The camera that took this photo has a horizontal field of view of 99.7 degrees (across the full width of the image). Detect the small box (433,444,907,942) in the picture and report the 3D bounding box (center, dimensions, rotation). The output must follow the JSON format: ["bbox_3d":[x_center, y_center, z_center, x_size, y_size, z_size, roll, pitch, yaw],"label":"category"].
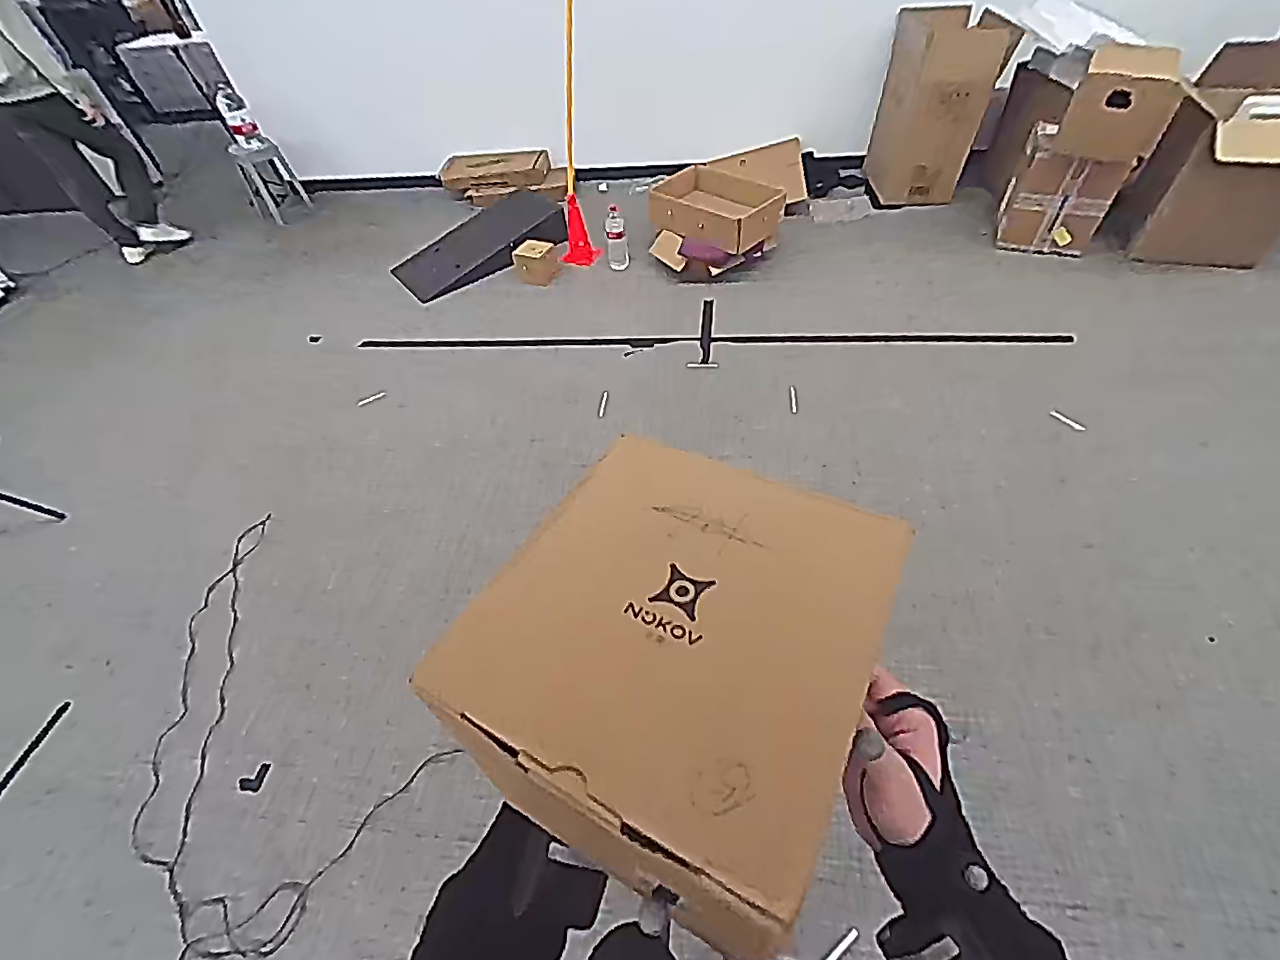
[{"bbox_3d":[0.026,0.114,0.307,0.168,0.176,0.179,20,50,23],"label":"small box"}]
